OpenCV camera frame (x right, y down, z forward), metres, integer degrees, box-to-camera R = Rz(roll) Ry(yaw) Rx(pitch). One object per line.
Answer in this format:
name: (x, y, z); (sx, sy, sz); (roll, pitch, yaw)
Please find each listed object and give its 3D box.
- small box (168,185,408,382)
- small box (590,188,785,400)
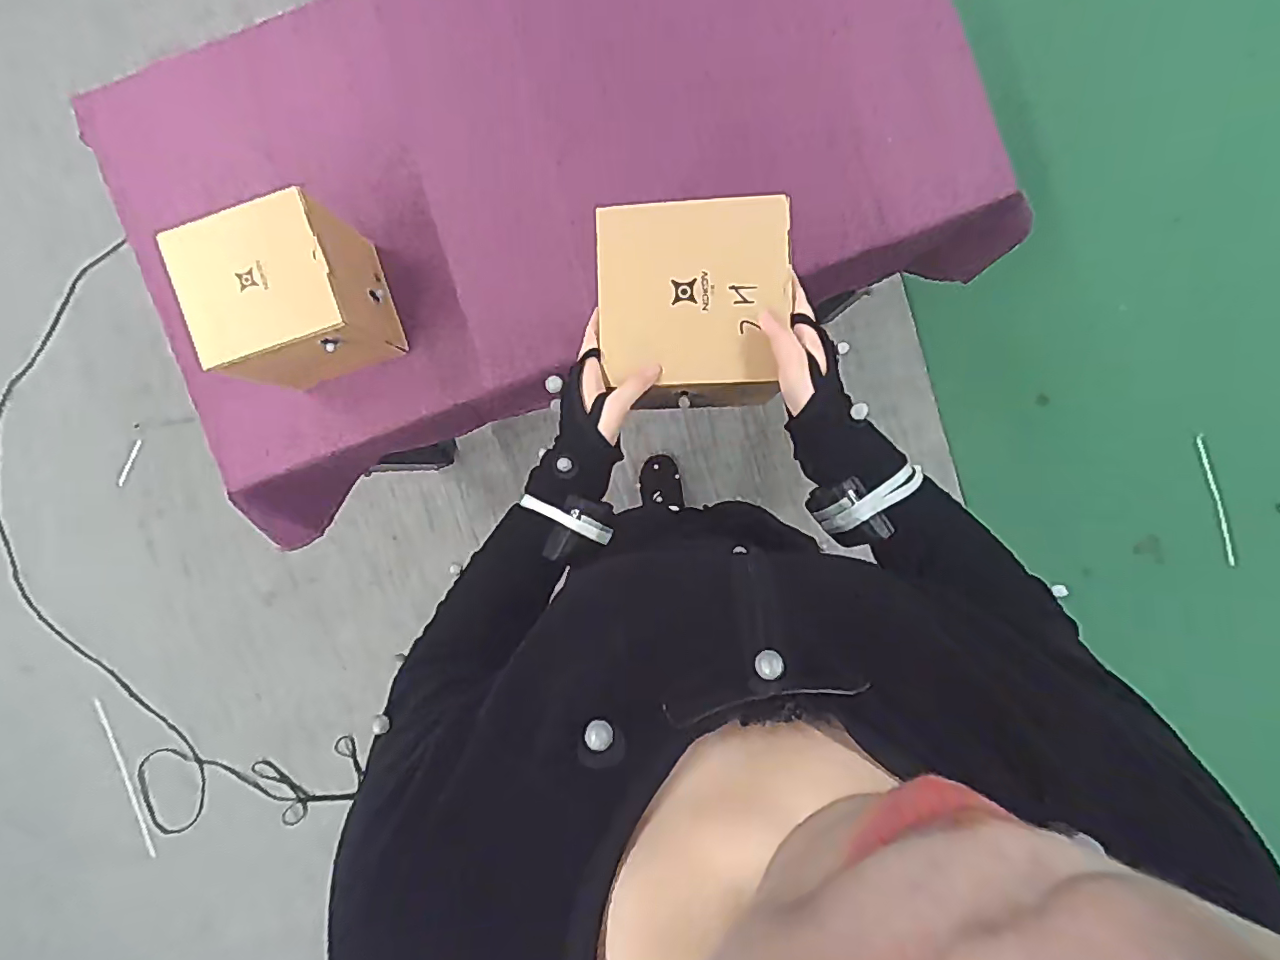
small box: (-0.440, -0.239, 0.705); (0.179, 0.176, 0.168); (-18, 91, 2)
small box: (0.050, -0.177, 0.565); (0.179, 0.176, 0.168); (-1, 91, 5)
